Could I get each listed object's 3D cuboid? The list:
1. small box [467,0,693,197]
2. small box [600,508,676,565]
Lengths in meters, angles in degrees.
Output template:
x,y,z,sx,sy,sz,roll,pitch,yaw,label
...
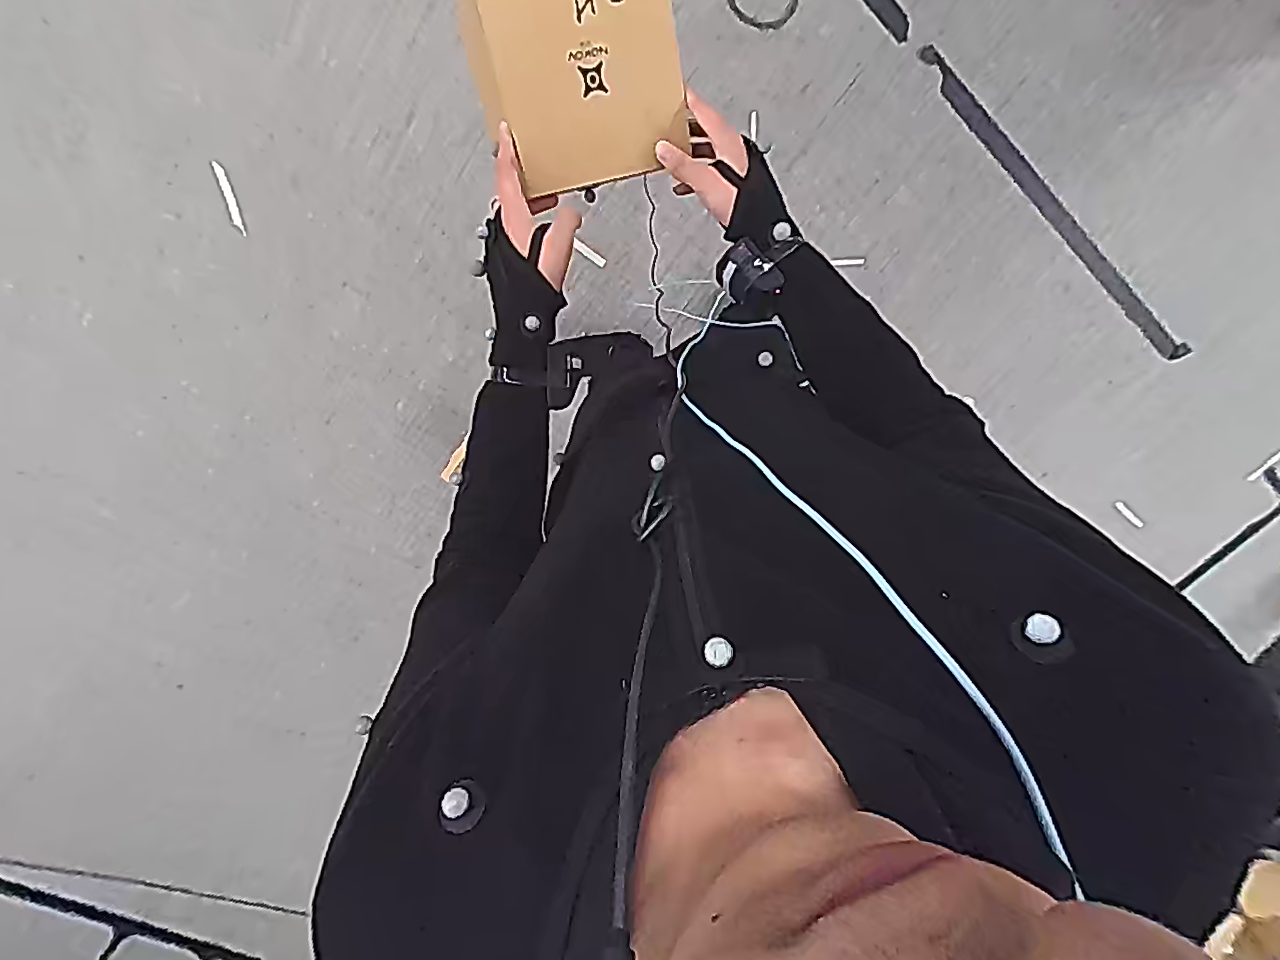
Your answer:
x,y,z,sx,sy,sz,roll,pitch,yaw,label
-0.063,-0.391,0.535,0.168,0.176,0.179,-18,119,-12,small box
-0.012,0.212,1.700,0.179,0.176,0.168,33,107,-17,small box
